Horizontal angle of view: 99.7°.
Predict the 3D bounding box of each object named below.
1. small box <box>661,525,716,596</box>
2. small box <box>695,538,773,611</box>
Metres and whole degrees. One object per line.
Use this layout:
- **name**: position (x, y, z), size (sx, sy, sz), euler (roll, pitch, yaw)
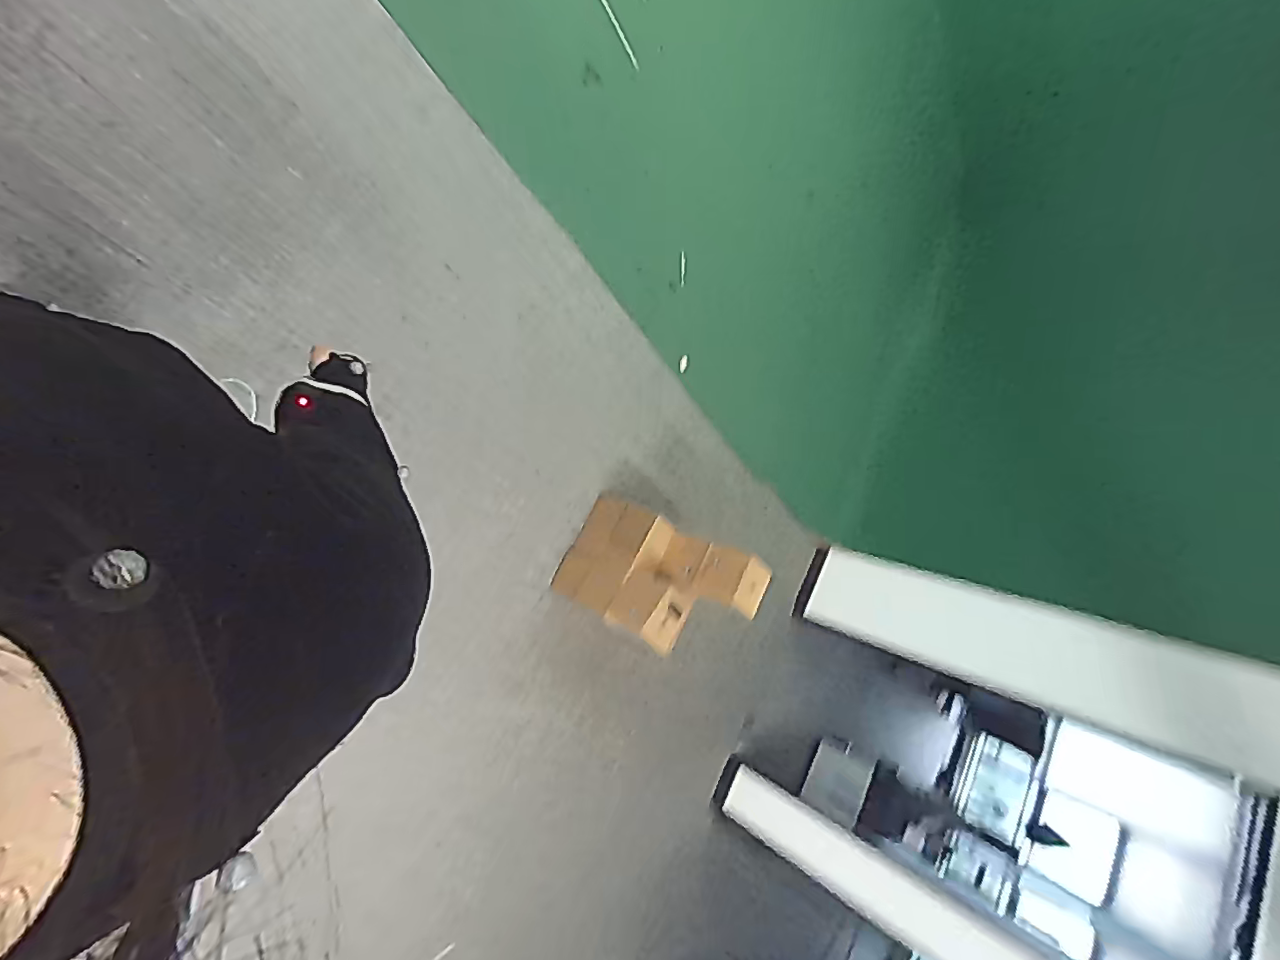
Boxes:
- **small box**: position (0.200, 0.286, 1.941), size (0.168, 0.176, 0.179), euler (41, 71, -46)
- **small box**: position (0.317, 0.315, 1.833), size (0.179, 0.176, 0.168), euler (43, 70, -44)
